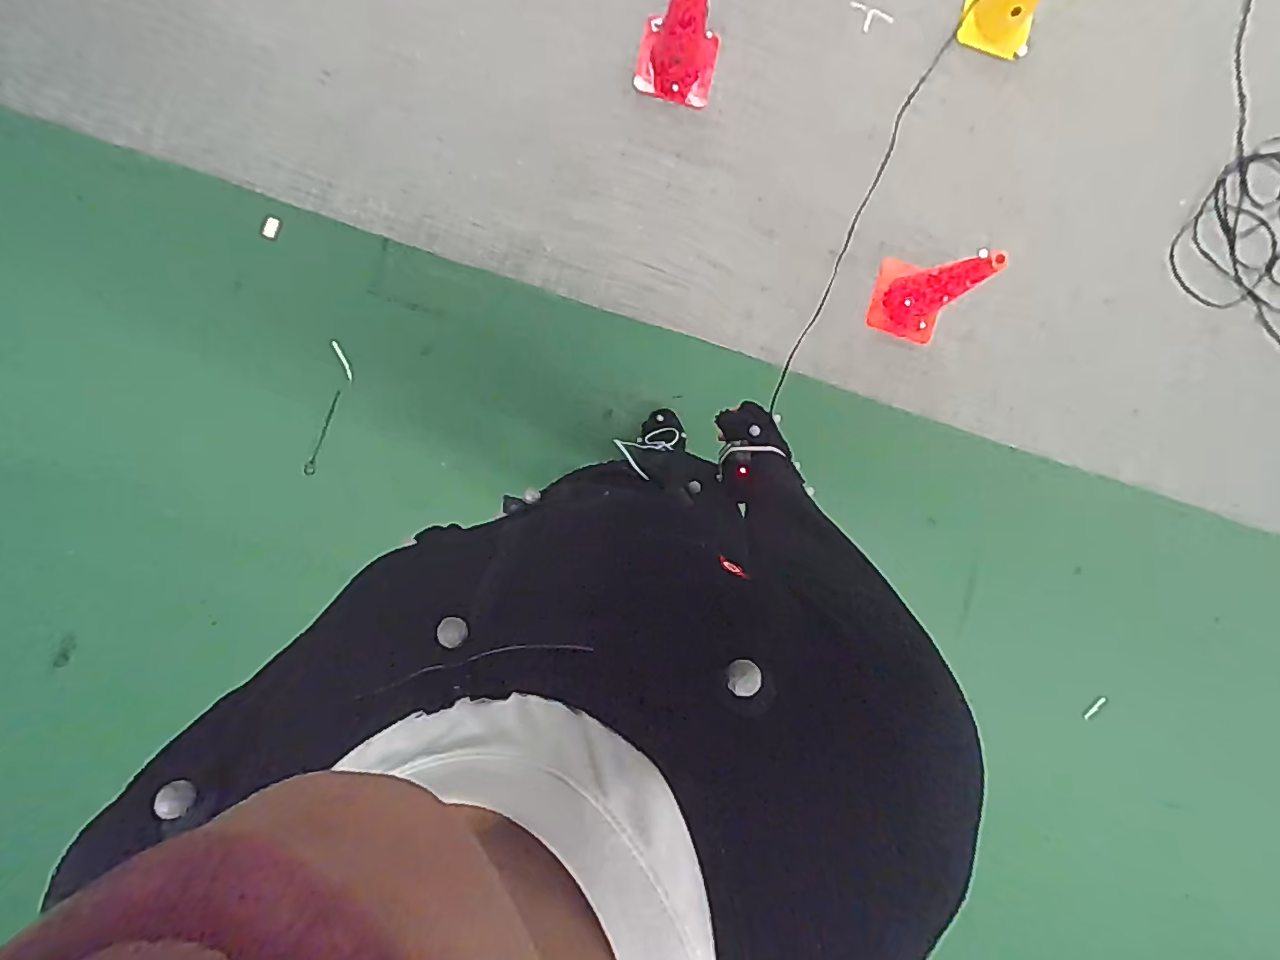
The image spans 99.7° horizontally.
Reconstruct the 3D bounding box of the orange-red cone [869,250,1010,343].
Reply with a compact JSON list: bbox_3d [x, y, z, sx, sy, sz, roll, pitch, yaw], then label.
[{"bbox_3d":[0.770,-0.495,1.349,0.198,0.360,0.199,17,91,-7],"label":"orange-red cone"}]

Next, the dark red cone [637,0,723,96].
[{"bbox_3d":[0.119,-1.096,1.233,0.202,0.394,0.201,12,94,-5],"label":"dark red cone"}]
